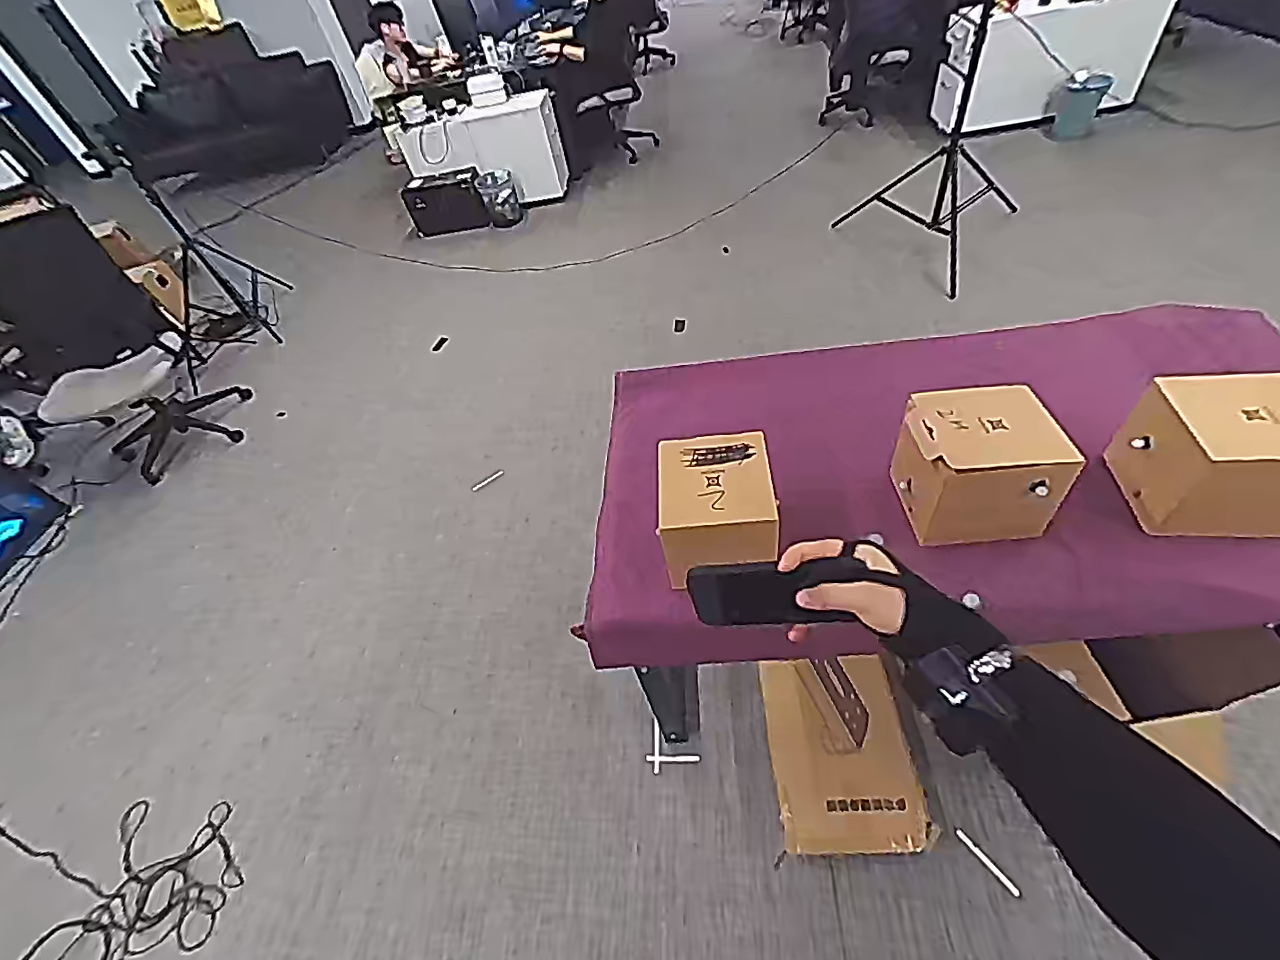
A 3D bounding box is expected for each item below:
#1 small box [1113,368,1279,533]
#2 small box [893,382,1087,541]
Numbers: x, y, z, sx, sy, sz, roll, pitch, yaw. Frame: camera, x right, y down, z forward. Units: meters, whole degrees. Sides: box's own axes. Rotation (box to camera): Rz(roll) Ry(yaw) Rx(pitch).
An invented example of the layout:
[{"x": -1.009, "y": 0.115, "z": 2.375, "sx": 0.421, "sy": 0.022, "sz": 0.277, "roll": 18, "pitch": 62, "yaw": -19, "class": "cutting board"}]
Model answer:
[{"x": 0.824, "y": -0.038, "z": 0.766, "sx": 0.179, "sy": 0.176, "sz": 0.168, "roll": 0, "pitch": 49, "yaw": 12, "class": "small box"}, {"x": 0.511, "y": -0.024, "z": 0.822, "sx": 0.179, "sy": 0.176, "sz": 0.168, "roll": -6, "pitch": 46, "yaw": 7, "class": "small box"}]
